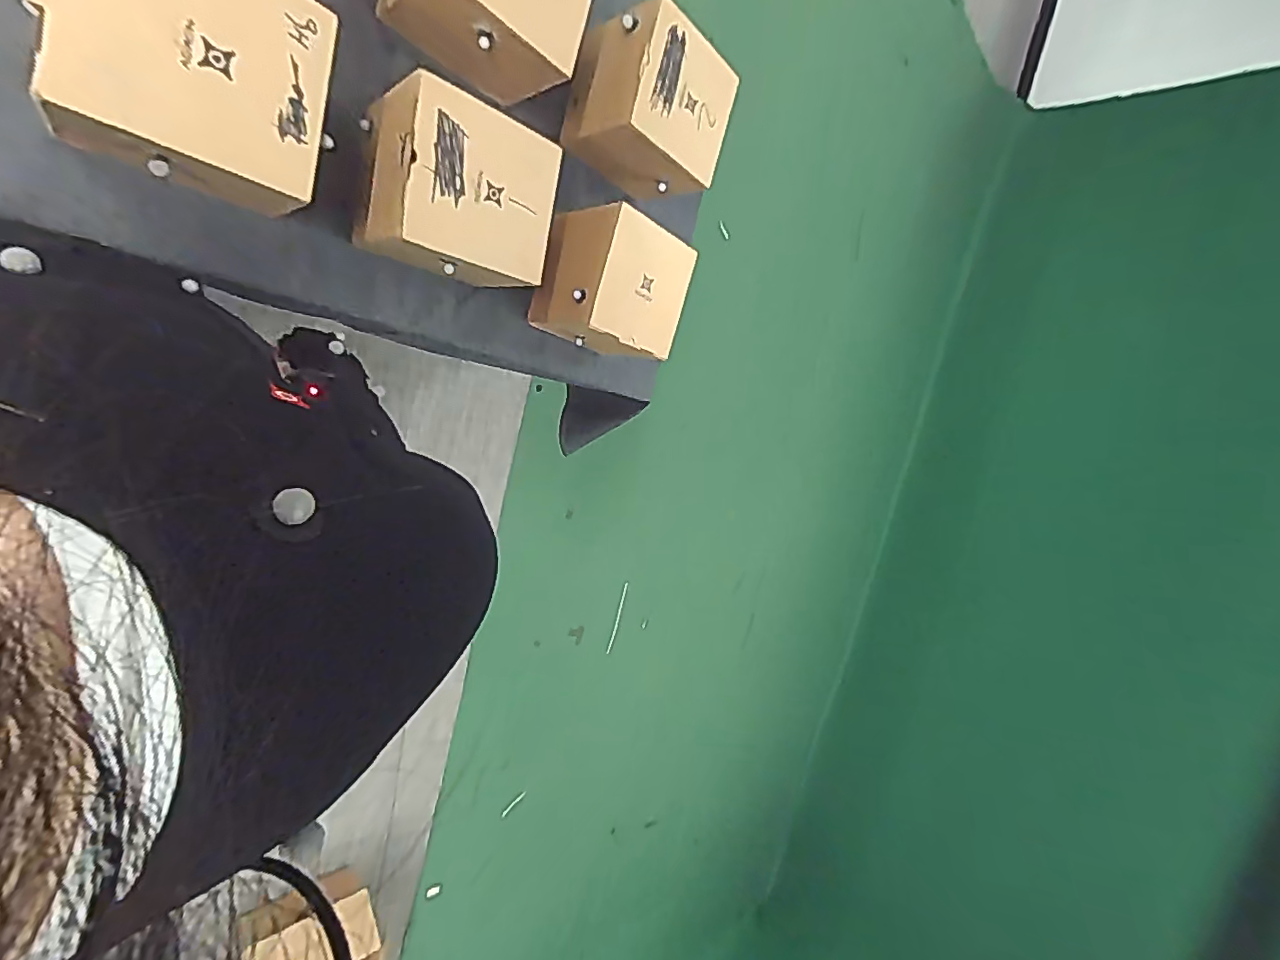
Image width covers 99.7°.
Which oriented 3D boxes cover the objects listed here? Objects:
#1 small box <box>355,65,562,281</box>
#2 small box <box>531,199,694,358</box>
[{"bbox_3d":[-0.224,-0.346,0.656,0.179,0.176,0.168,2,103,-45],"label":"small box"},{"bbox_3d":[-0.047,-0.305,0.844,0.168,0.176,0.179,11,97,-45],"label":"small box"}]
